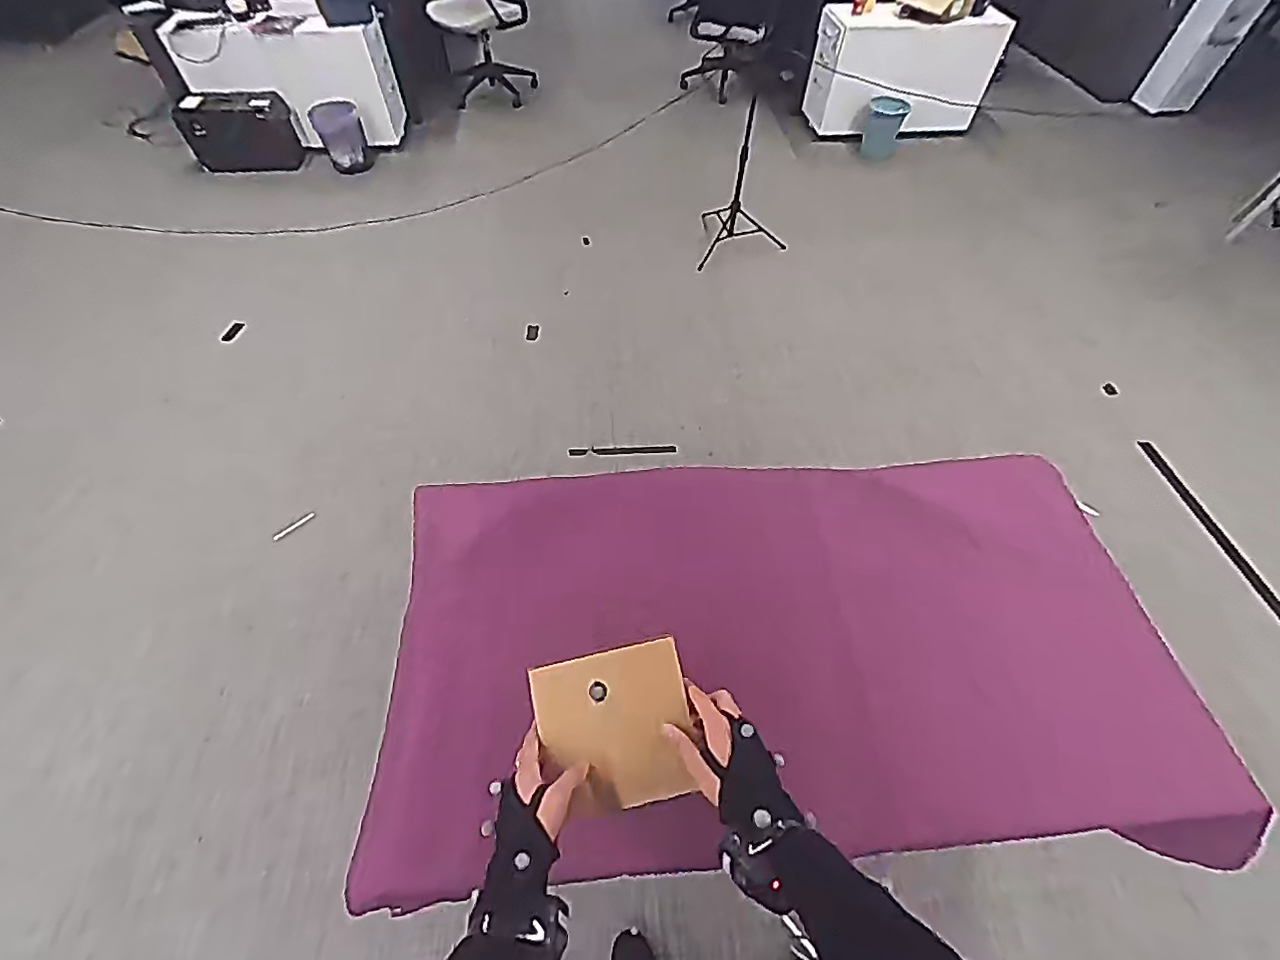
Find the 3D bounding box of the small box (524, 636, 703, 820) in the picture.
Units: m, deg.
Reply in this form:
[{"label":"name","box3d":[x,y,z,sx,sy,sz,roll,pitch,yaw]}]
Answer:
[{"label":"small box","box3d":[-0.029,0.300,0.677,0.179,0.168,0.176,-12,74,-1]}]
